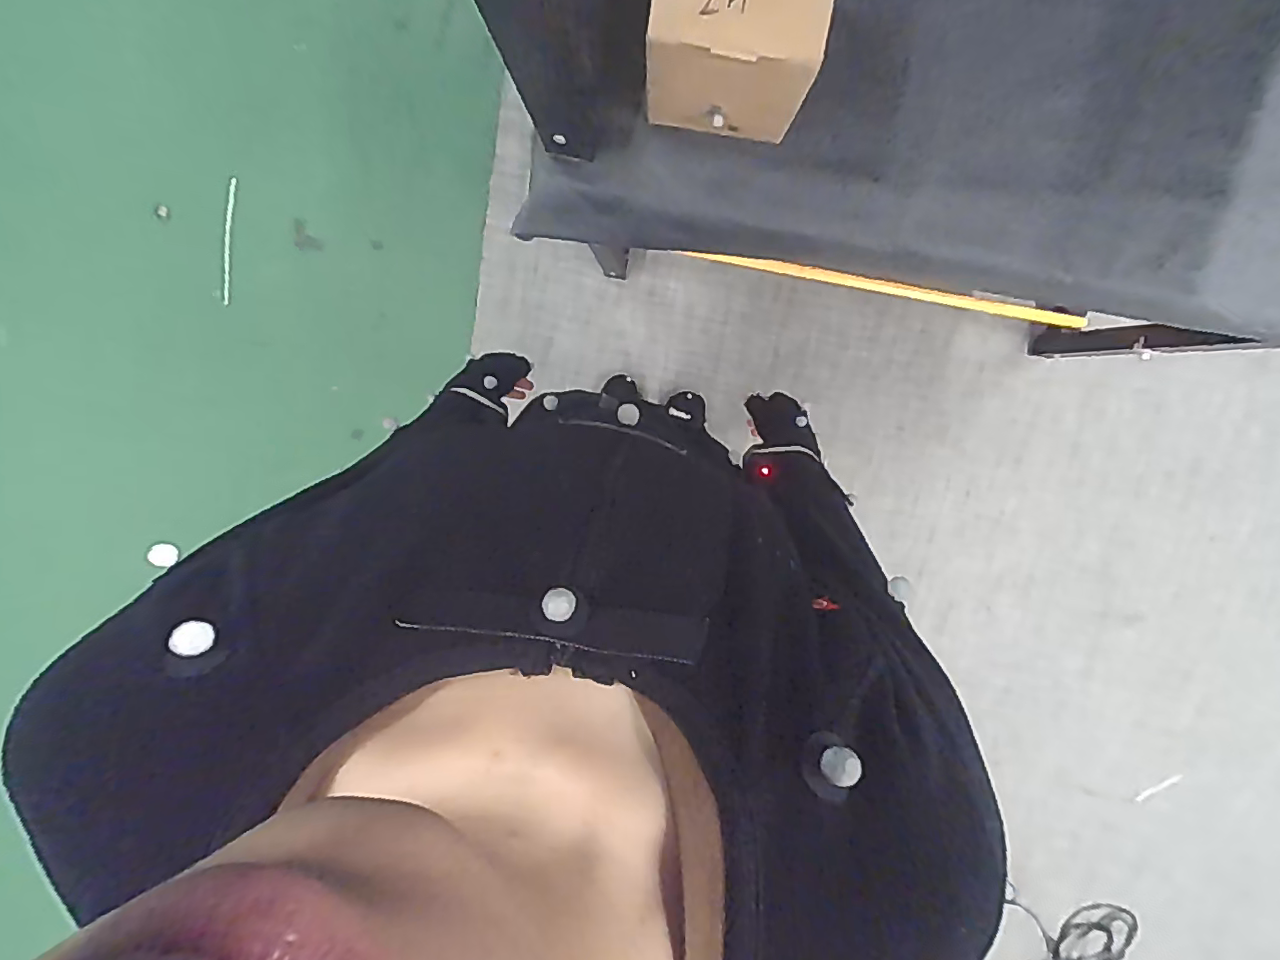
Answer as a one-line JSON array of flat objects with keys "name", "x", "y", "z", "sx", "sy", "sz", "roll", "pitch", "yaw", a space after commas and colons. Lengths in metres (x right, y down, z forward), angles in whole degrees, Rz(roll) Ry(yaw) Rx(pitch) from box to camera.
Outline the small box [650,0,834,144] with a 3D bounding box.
[{"name": "small box", "x": 0.102, "y": -0.491, "z": 0.565, "sx": 0.168, "sy": 0.176, "sz": 0.179, "roll": 9, "pitch": 100, "yaw": 0}]
